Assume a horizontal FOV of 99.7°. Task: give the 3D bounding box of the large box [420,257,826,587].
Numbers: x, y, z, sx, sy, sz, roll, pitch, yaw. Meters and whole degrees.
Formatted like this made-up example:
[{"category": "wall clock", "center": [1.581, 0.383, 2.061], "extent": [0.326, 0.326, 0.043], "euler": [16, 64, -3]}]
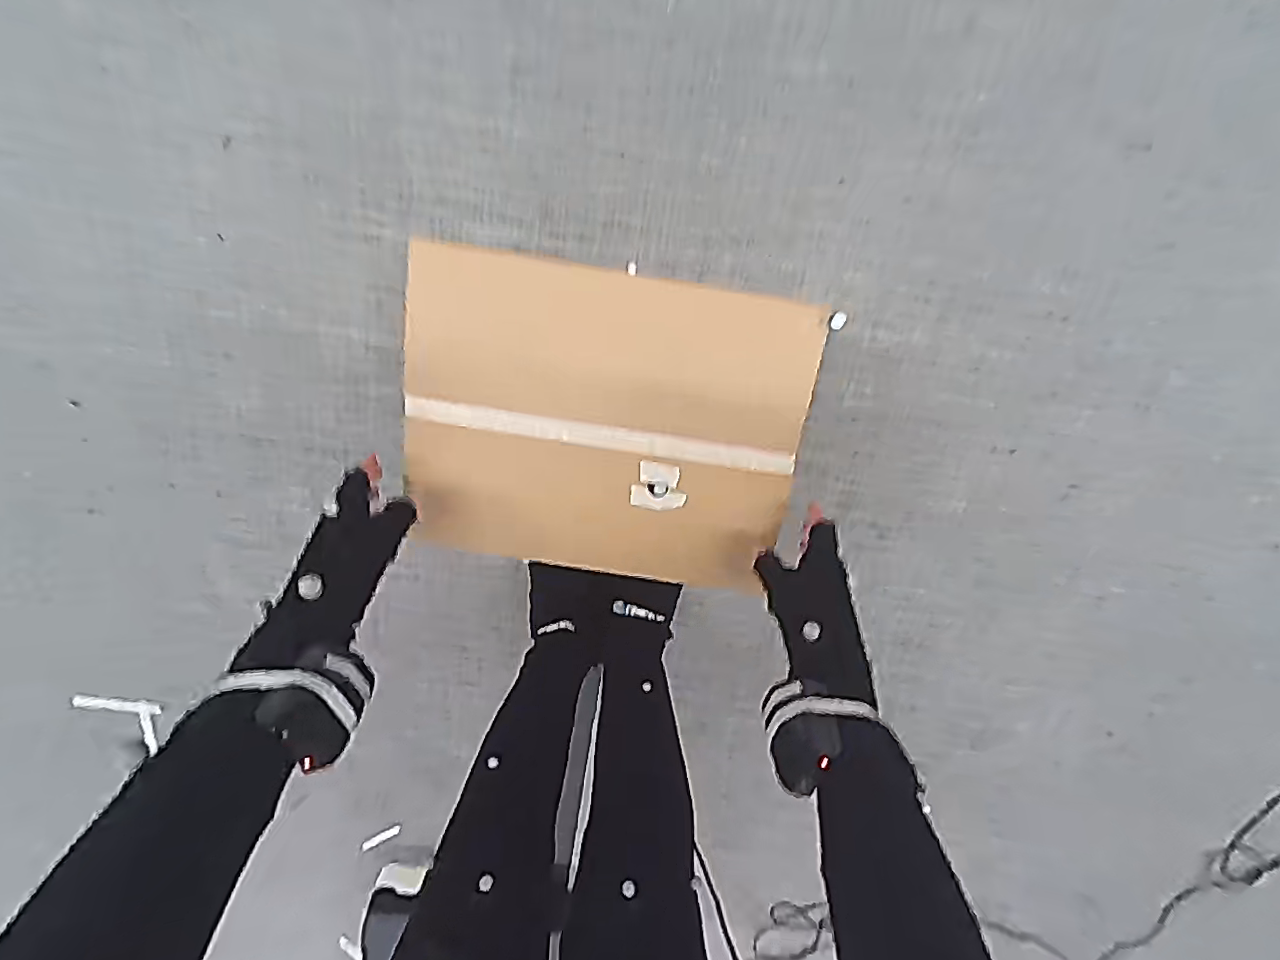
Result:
[{"category": "large box", "center": [-0.031, -0.090, 0.712], "extent": [0.408, 0.320, 0.320], "euler": [9, 108, -2]}]
